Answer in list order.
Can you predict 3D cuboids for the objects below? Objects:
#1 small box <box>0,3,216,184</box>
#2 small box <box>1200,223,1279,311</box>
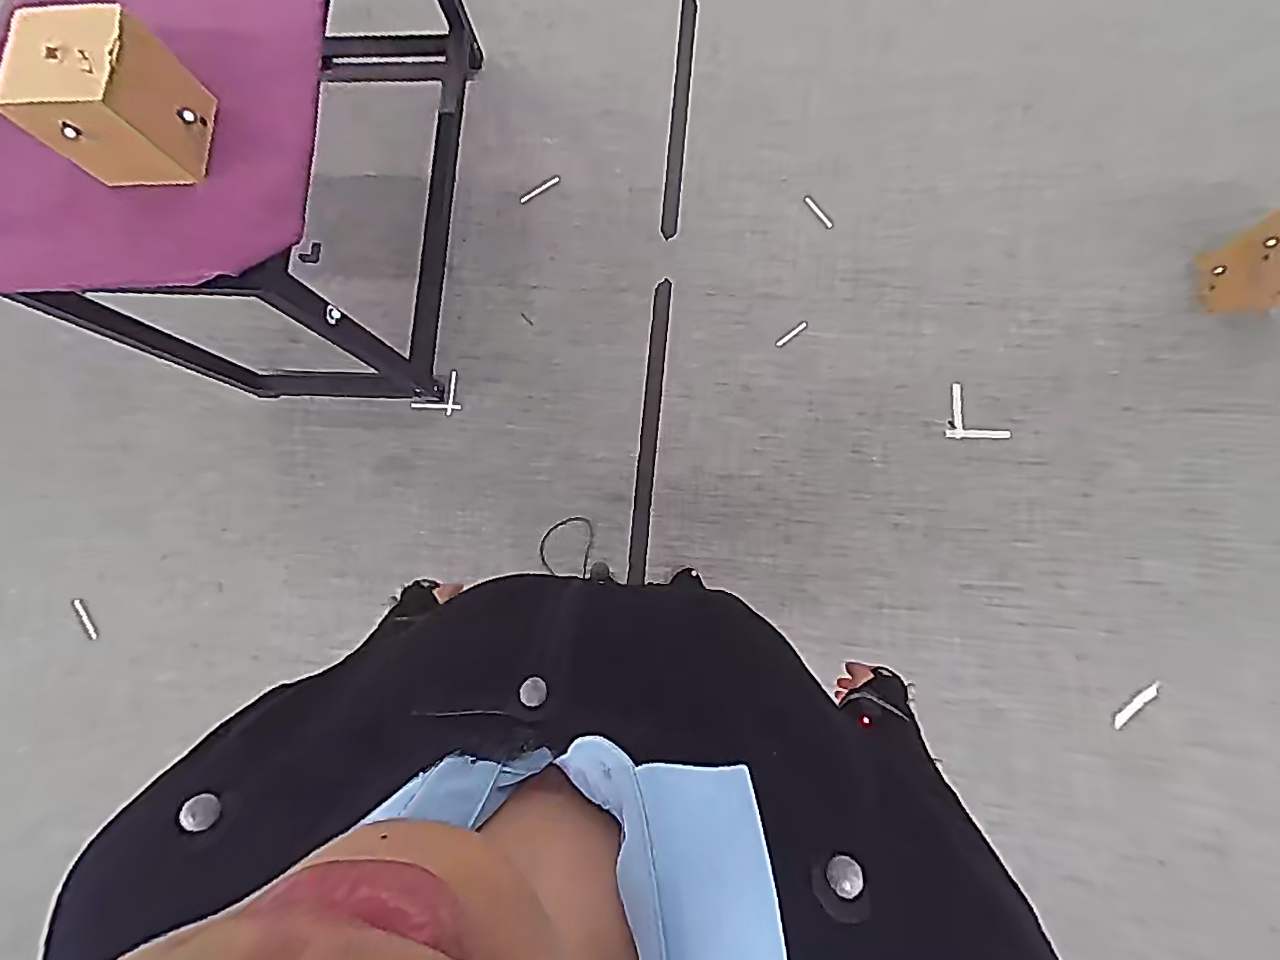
[{"bbox_3d":[-0.827,-0.594,0.850,0.179,0.176,0.168,1,81,3],"label":"small box"},{"bbox_3d":[1.677,-0.565,1.445,0.179,0.176,0.168,-2,81,3],"label":"small box"}]
